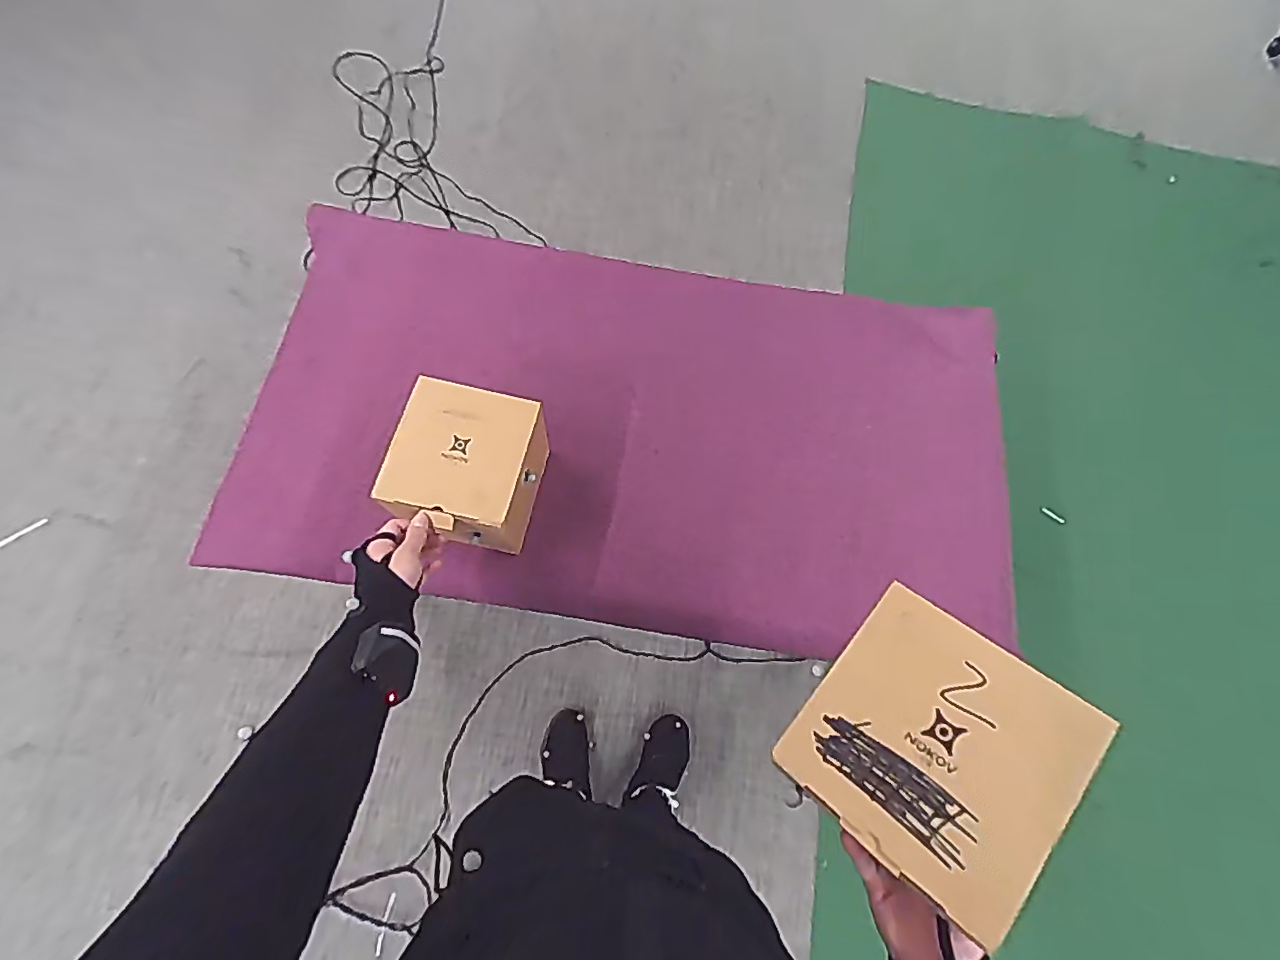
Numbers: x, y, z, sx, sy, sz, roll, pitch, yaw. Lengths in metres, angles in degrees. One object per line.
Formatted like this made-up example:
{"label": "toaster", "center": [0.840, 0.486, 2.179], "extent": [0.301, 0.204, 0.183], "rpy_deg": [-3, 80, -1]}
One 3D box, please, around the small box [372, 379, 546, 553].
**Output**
{"label": "small box", "center": [-0.236, -0.010, 0.758], "extent": [0.168, 0.176, 0.179], "rpy_deg": [14, 69, 0]}
